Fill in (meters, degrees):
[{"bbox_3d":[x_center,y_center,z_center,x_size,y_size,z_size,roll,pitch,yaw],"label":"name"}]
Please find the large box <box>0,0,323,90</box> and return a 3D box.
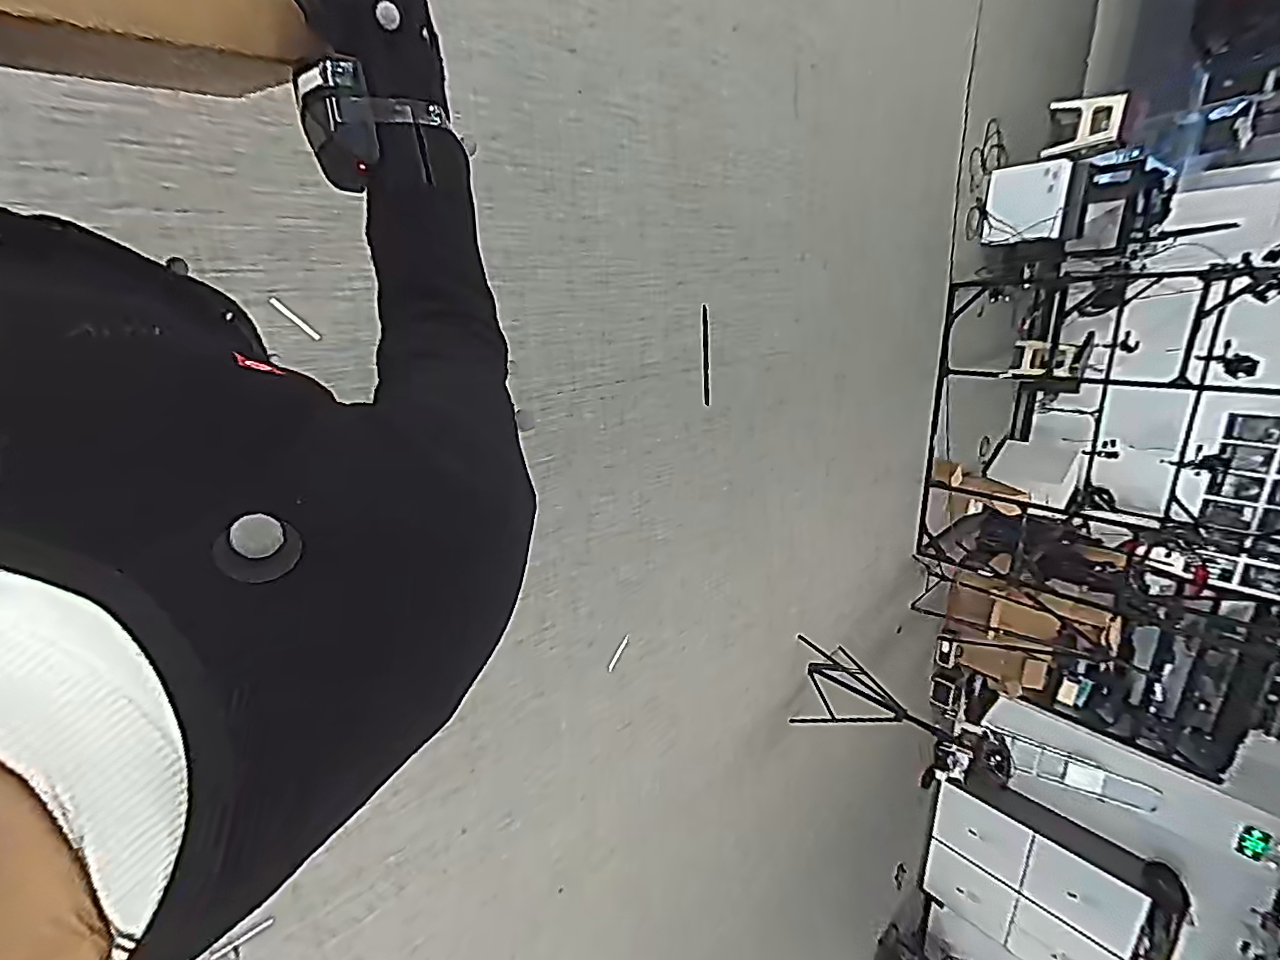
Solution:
[{"bbox_3d":[-0.446,-0.409,0.257,0.408,0.320,0.320,-21,128,-38],"label":"large box"}]
